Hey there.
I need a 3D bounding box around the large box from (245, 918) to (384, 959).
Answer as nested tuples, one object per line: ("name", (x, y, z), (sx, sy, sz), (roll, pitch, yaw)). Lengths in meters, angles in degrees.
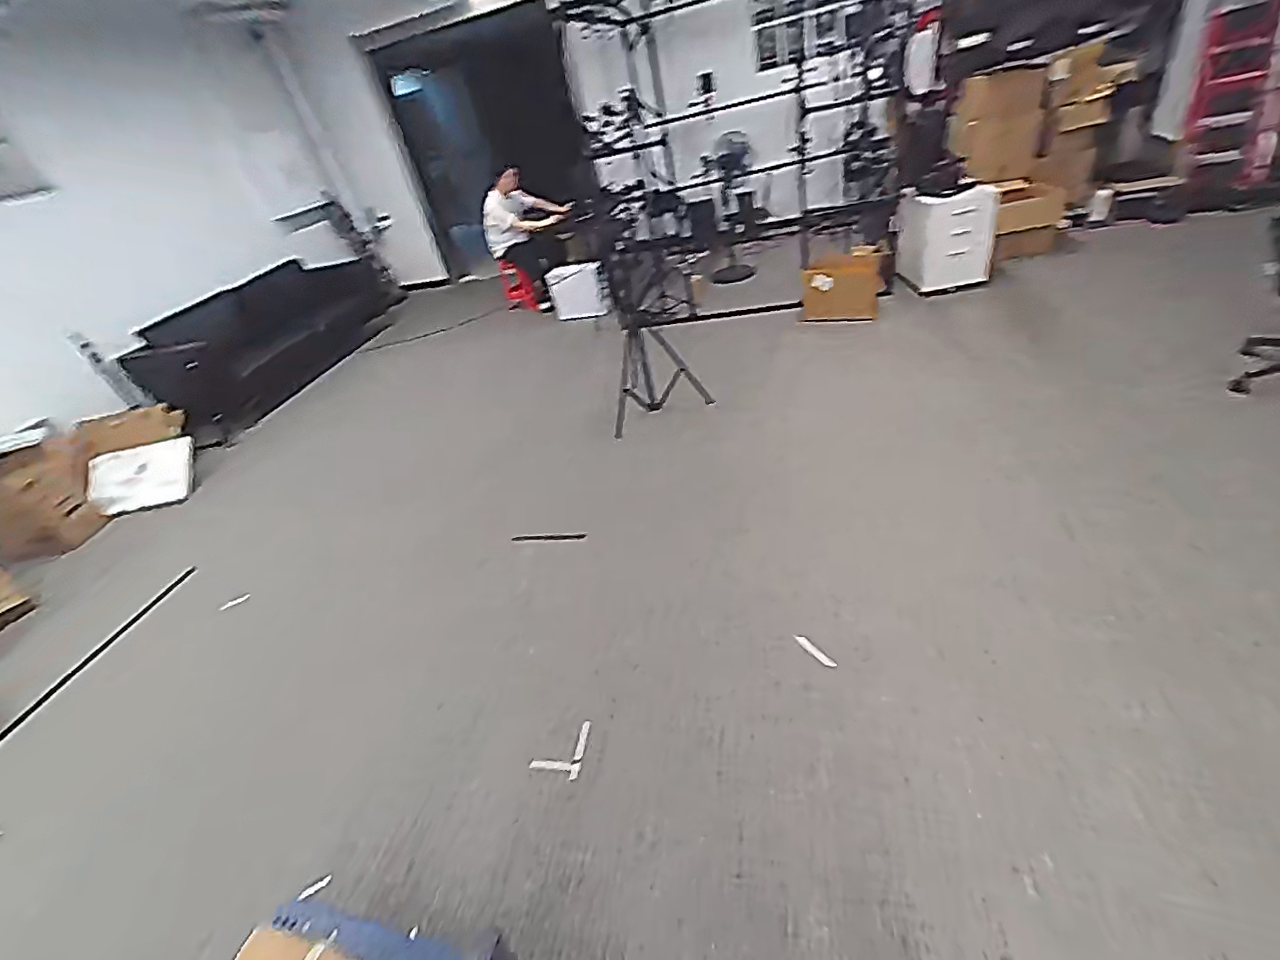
("large box", (-0.561, 1.047, 0.891), (0.320, 0.320, 0.408), (0, 38, 22))
